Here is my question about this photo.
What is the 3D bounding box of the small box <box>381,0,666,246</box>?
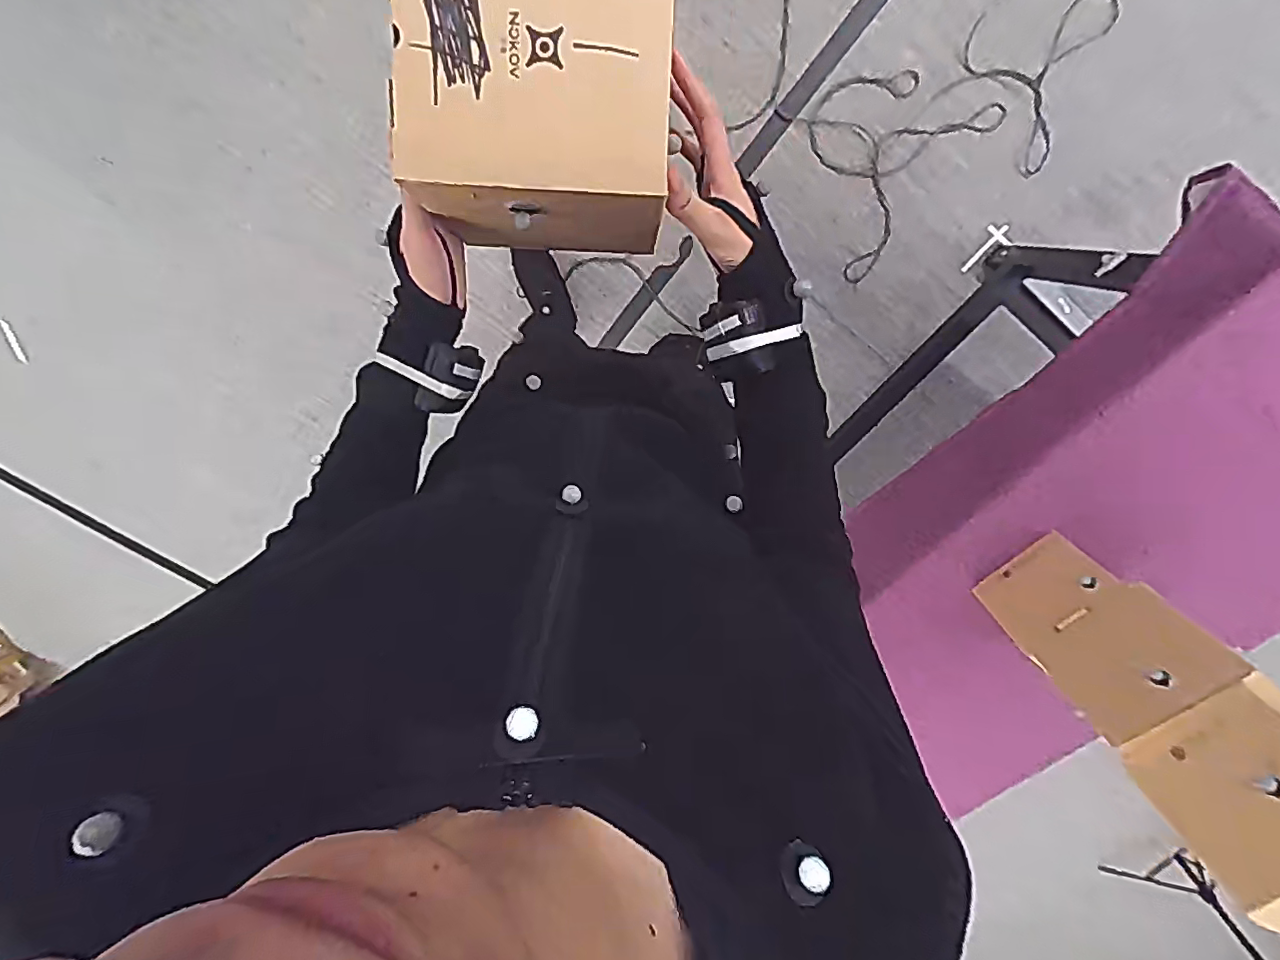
[{"bbox_3d":[-0.073,-0.285,0.410,0.179,0.176,0.168,1,100,-2],"label":"small box"}]

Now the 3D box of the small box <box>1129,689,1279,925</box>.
[{"bbox_3d":[0.703,0.358,0.582,0.179,0.176,0.168,29,113,-12],"label":"small box"}]

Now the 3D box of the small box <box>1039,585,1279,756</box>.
[{"bbox_3d":[0.699,0.274,0.722,0.168,0.176,0.179,37,112,-14],"label":"small box"}]
